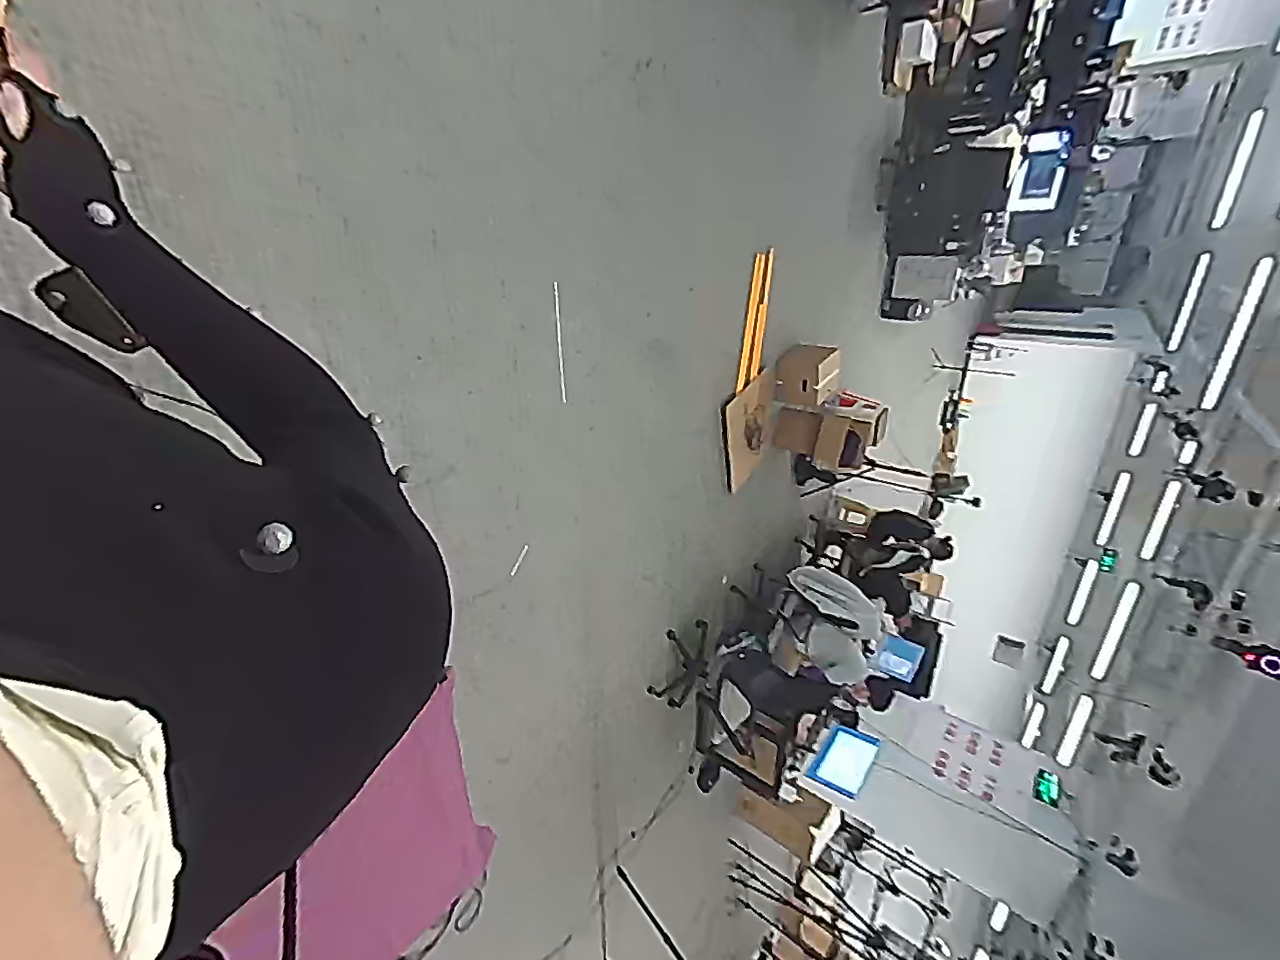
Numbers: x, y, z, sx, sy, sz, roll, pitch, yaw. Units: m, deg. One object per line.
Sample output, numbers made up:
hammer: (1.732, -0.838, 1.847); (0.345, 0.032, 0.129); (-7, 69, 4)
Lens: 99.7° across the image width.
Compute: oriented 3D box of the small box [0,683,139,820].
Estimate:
small box: (-1.275, 0.593, 1.204); (0.179, 0.176, 0.168); (-27, 125, -47)
